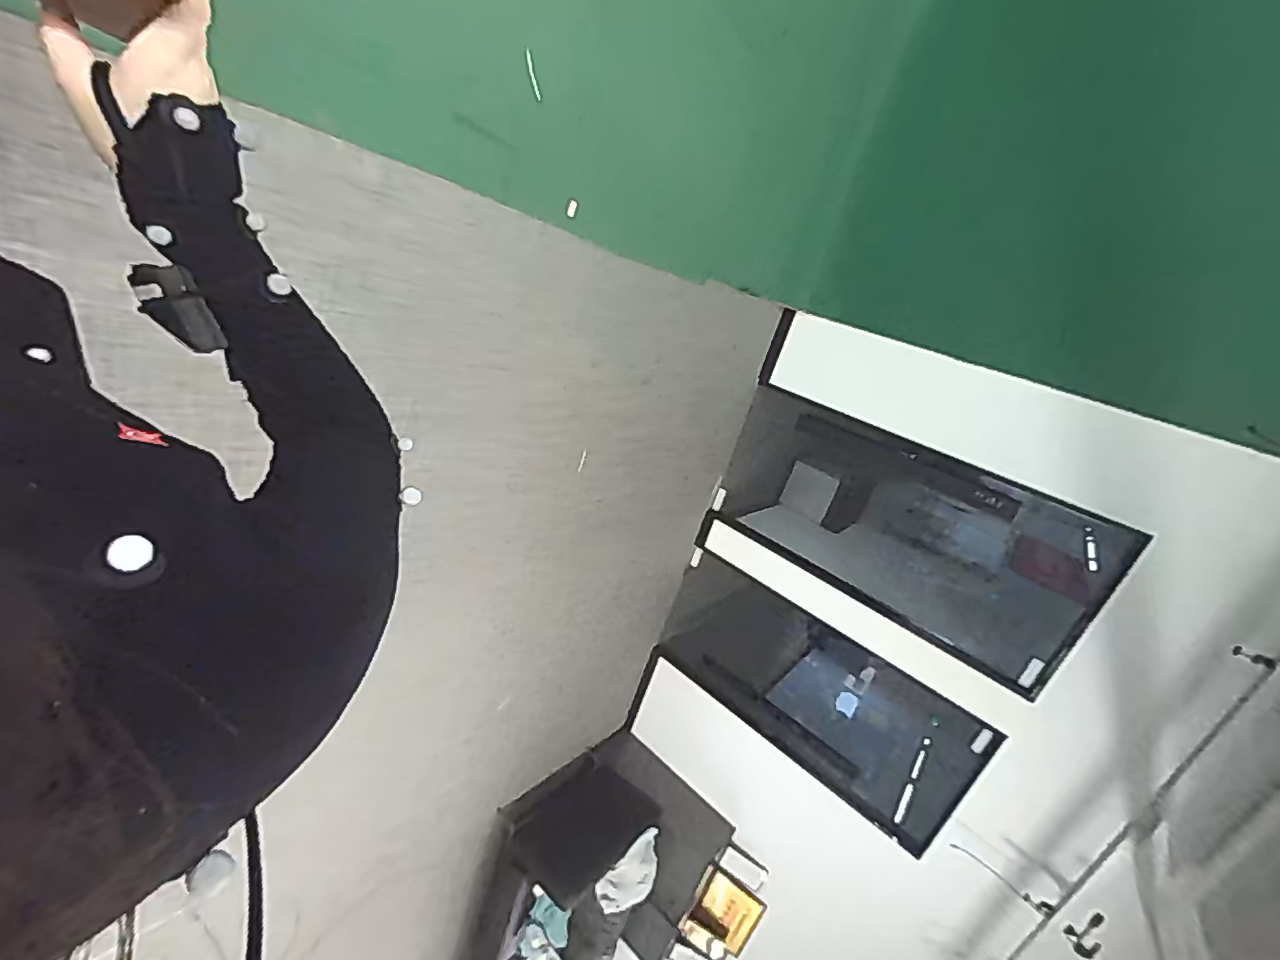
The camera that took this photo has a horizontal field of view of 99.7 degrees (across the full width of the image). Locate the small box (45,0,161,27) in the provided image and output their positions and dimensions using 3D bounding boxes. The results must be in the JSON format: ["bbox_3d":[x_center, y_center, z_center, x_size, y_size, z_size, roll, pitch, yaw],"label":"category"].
[{"bbox_3d":[-0.314,-0.357,0.242,0.179,0.176,0.168,1,101,-55],"label":"small box"}]
